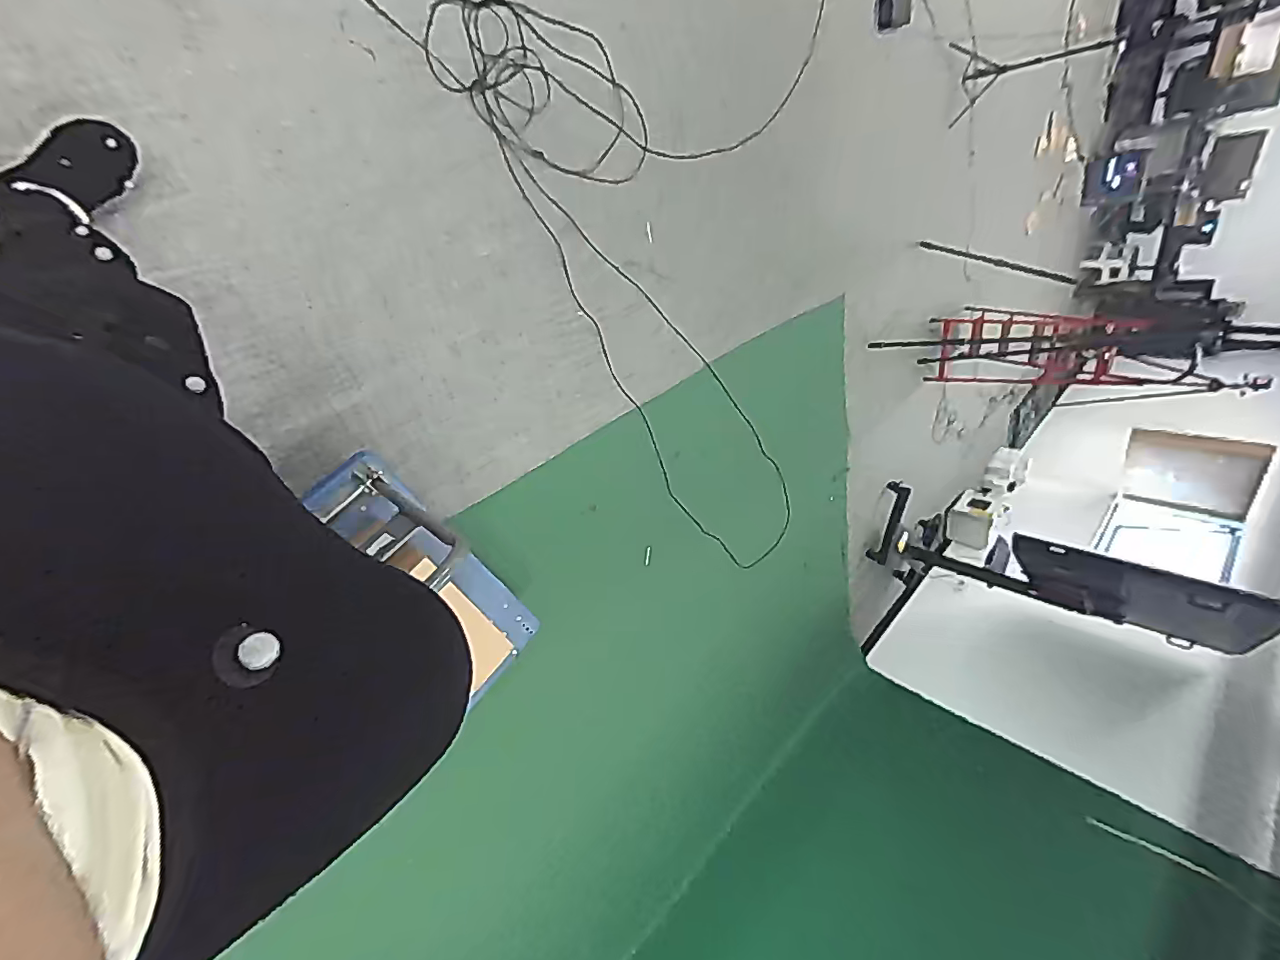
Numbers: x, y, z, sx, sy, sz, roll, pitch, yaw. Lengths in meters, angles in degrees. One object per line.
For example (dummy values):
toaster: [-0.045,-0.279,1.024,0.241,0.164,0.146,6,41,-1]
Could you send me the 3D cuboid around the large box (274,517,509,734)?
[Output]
large box: [-0.624,0.364,1.389,0.320,0.320,0.408,-47,132,-22]
